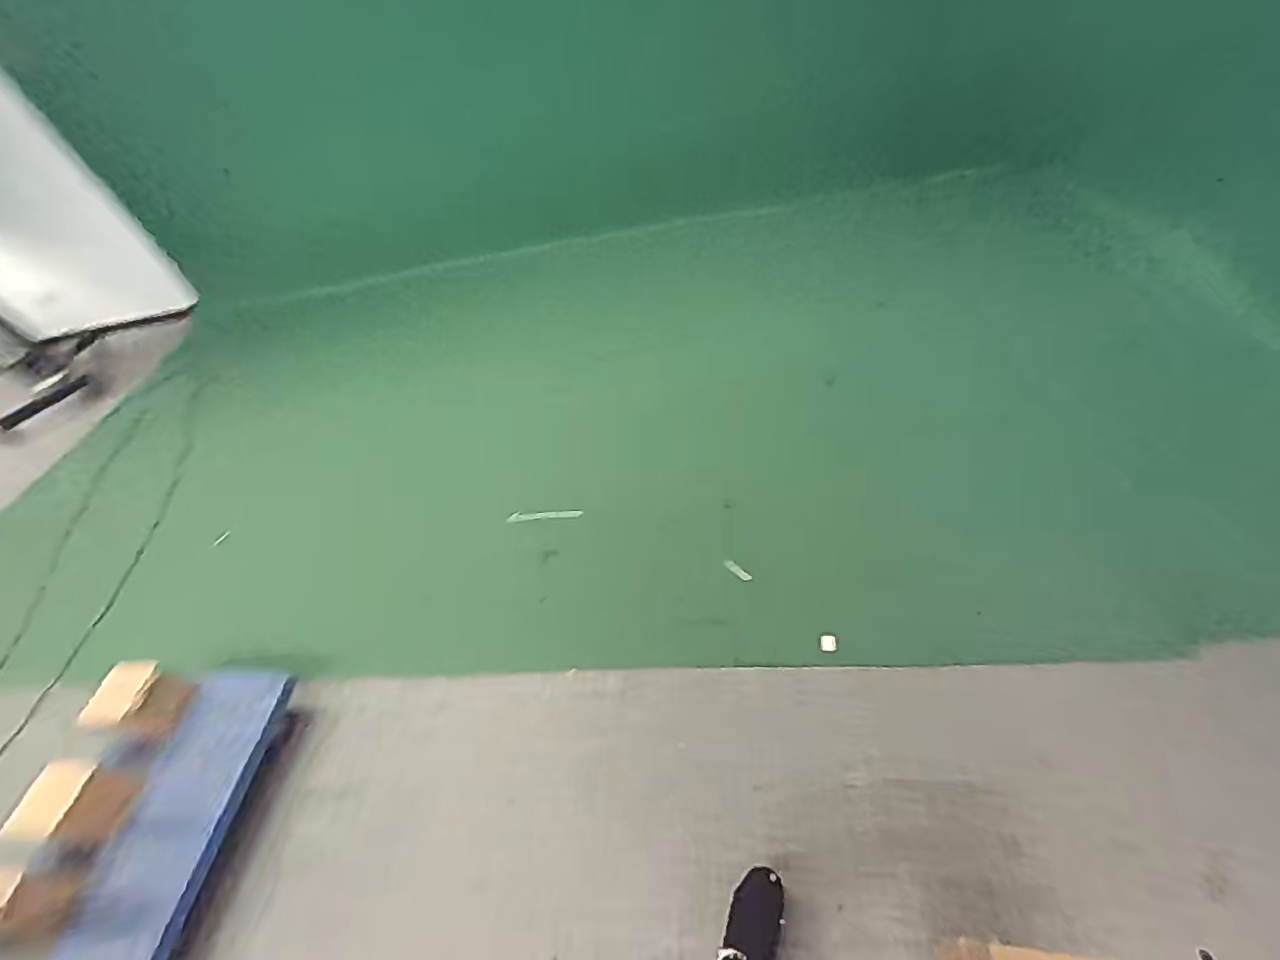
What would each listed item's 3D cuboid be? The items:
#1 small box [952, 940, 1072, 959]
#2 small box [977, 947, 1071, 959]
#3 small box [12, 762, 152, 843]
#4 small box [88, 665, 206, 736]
[{"bbox_3d":[0.645,0.906,0.914,0.179,0.176,0.168,-3,48,16],"label":"small box"},{"bbox_3d":[0.620,0.816,0.799,0.179,0.176,0.168,-2,49,14],"label":"small box"},{"bbox_3d":[-1.558,0.911,1.523,0.179,0.176,0.168,-4,48,11],"label":"small box"},{"bbox_3d":[-1.543,0.697,1.704,0.179,0.176,0.168,-5,49,11],"label":"small box"}]
